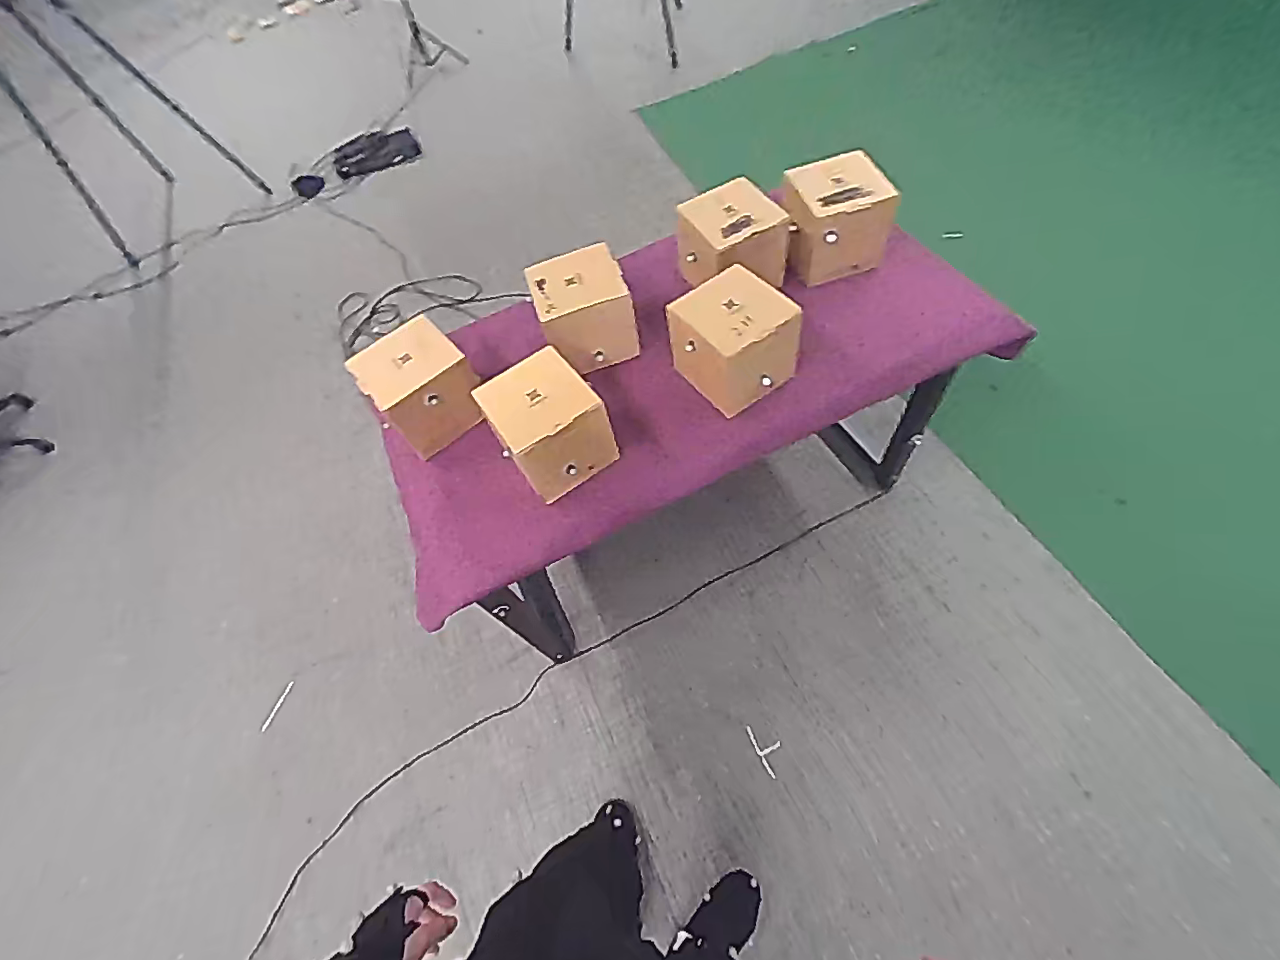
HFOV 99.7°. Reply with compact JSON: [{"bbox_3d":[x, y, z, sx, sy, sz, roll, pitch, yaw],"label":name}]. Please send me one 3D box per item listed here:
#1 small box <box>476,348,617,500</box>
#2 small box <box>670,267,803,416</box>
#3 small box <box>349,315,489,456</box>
[{"bbox_3d":[-0.161,-0.096,0.973,0.168,0.176,0.179,-34,60,-12],"label":"small box"},{"bbox_3d":[0.177,-0.254,1.012,0.168,0.176,0.179,-33,60,-10],"label":"small box"},{"bbox_3d":[-0.419,-0.178,1.061,0.179,0.176,0.168,-38,63,-14],"label":"small box"}]
